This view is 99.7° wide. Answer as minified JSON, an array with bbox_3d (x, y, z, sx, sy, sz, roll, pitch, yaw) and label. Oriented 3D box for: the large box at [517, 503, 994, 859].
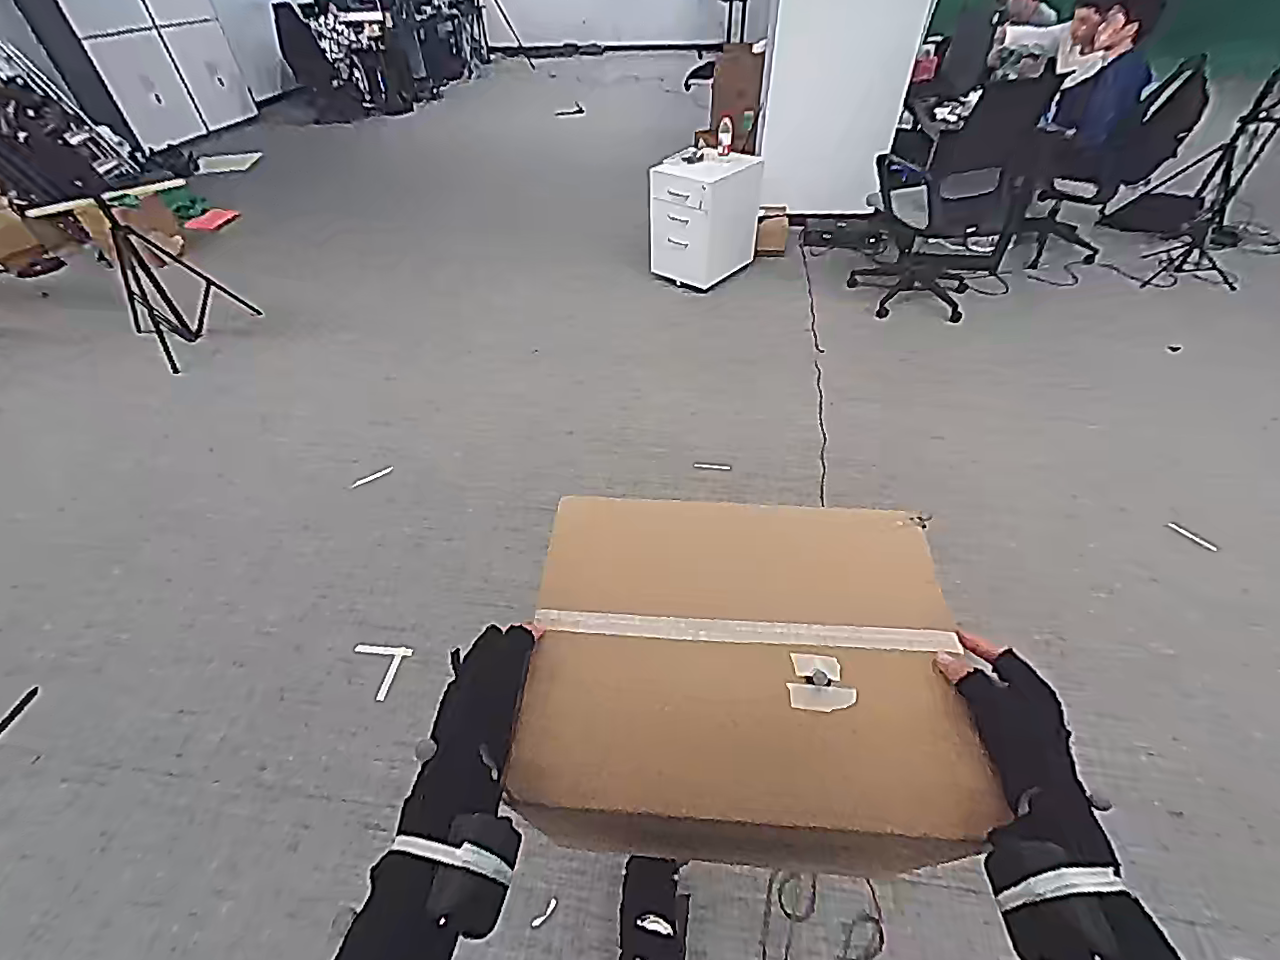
[{"bbox_3d":[0.103,0.246,0.655,0.408,0.320,0.320,2,51,4],"label":"large box"}]
